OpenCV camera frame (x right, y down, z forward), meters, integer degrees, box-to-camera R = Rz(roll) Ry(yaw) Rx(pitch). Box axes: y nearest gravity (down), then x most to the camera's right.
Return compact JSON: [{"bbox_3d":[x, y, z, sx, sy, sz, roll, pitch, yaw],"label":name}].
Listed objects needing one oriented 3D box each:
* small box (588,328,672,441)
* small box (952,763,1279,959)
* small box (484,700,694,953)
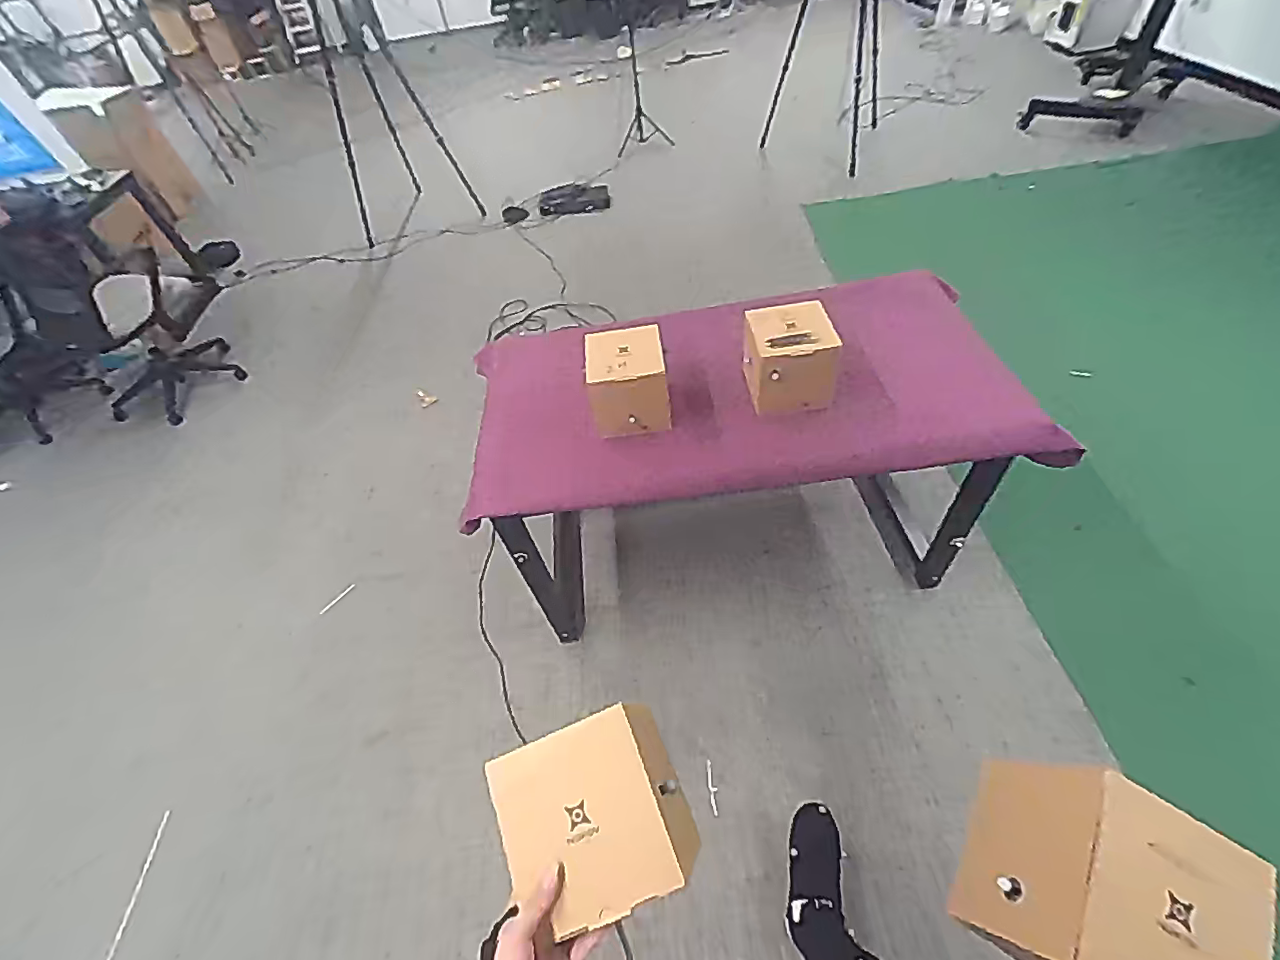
[{"bbox_3d":[-0.021,-0.212,1.210,0.168,0.176,0.179,-7,50,3],"label":"small box"},{"bbox_3d":[0.444,0.405,0.527,0.168,0.176,0.179,32,64,7],"label":"small box"},{"bbox_3d":[-0.049,0.366,0.608,0.168,0.176,0.179,-24,66,0],"label":"small box"}]
